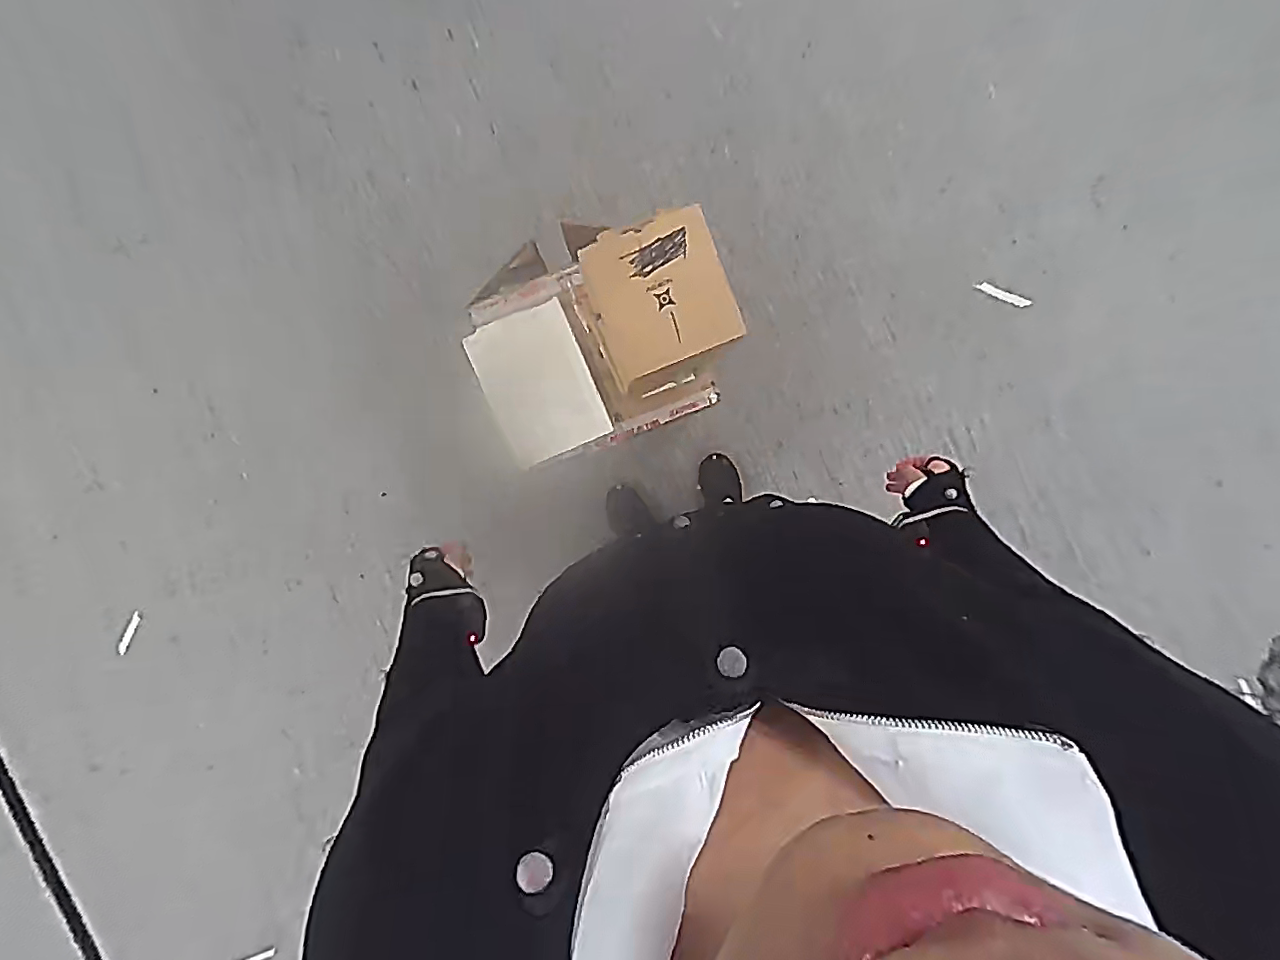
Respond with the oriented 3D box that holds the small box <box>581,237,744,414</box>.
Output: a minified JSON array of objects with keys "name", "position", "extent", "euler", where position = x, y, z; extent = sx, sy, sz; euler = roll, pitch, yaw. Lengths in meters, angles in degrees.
[{"name":"small box","position":[0.025,-0.206,0.771],"extent":[0.168,0.176,0.179],"euler":[-22,94,0]}]

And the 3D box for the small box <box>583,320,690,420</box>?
[{"name":"small box","position":[0.017,-0.213,0.935],"extent":[0.179,0.176,0.168],"euler":[-25,93,0]}]
